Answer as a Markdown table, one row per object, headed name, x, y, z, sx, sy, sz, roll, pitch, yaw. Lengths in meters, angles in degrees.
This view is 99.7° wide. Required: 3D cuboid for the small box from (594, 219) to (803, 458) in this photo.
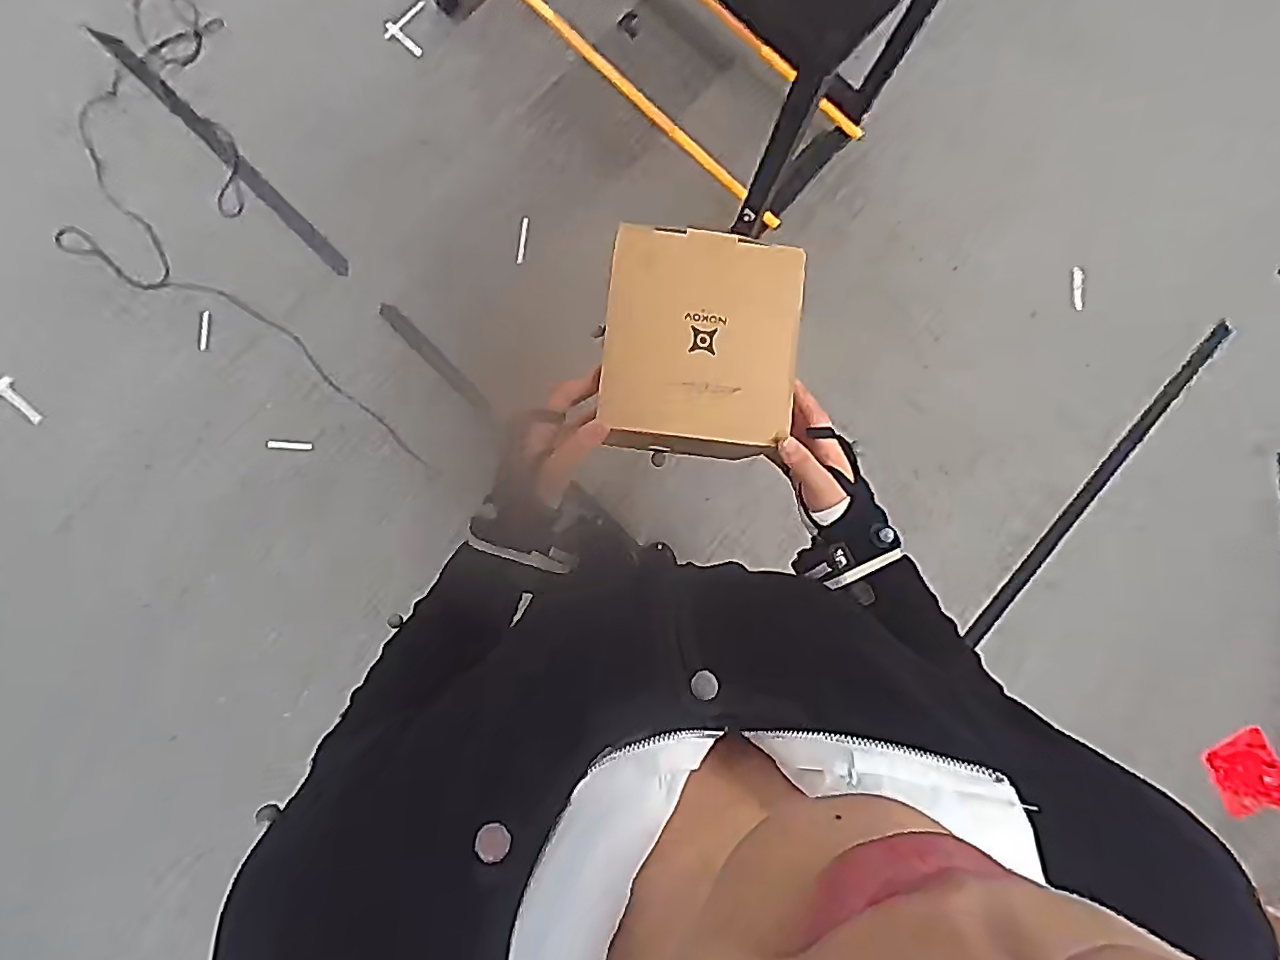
| name | x | y | z | sx | sy | sz | roll | pitch | yaw |
| --- | --- | --- | --- | --- | --- | --- | --- | --- | --- |
| small box | 0.045 | -0.121 | 0.532 | 0.168 | 0.176 | 0.179 | 6 | 88 | -5 |
